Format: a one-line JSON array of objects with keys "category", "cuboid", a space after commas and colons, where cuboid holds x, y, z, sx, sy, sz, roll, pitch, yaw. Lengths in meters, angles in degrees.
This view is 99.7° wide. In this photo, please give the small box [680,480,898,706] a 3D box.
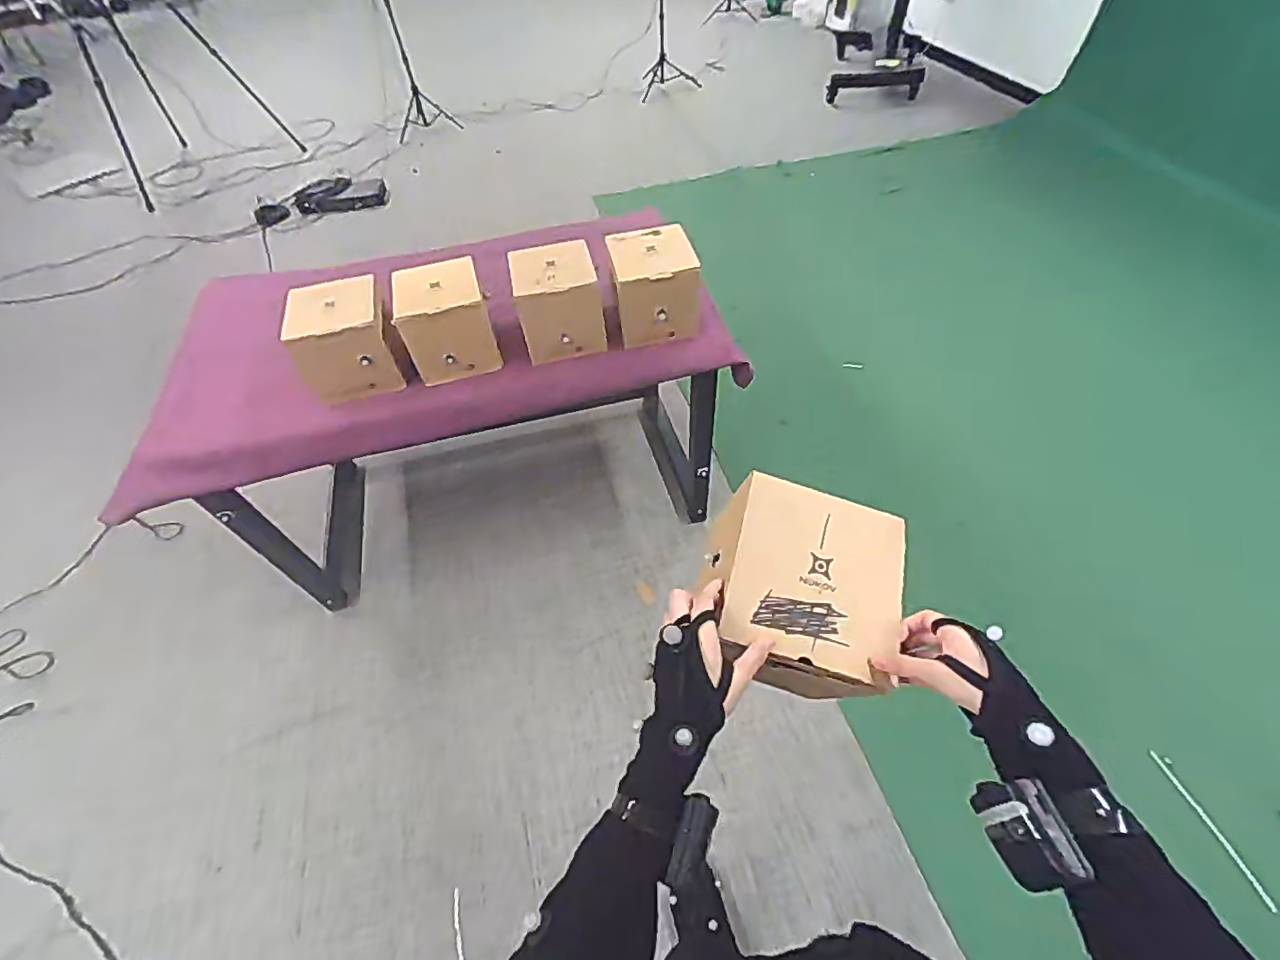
[{"category": "small box", "cuboid": [0.149, 0.131, 0.581, 0.168, 0.176, 0.179, 18, 64, 1]}]
